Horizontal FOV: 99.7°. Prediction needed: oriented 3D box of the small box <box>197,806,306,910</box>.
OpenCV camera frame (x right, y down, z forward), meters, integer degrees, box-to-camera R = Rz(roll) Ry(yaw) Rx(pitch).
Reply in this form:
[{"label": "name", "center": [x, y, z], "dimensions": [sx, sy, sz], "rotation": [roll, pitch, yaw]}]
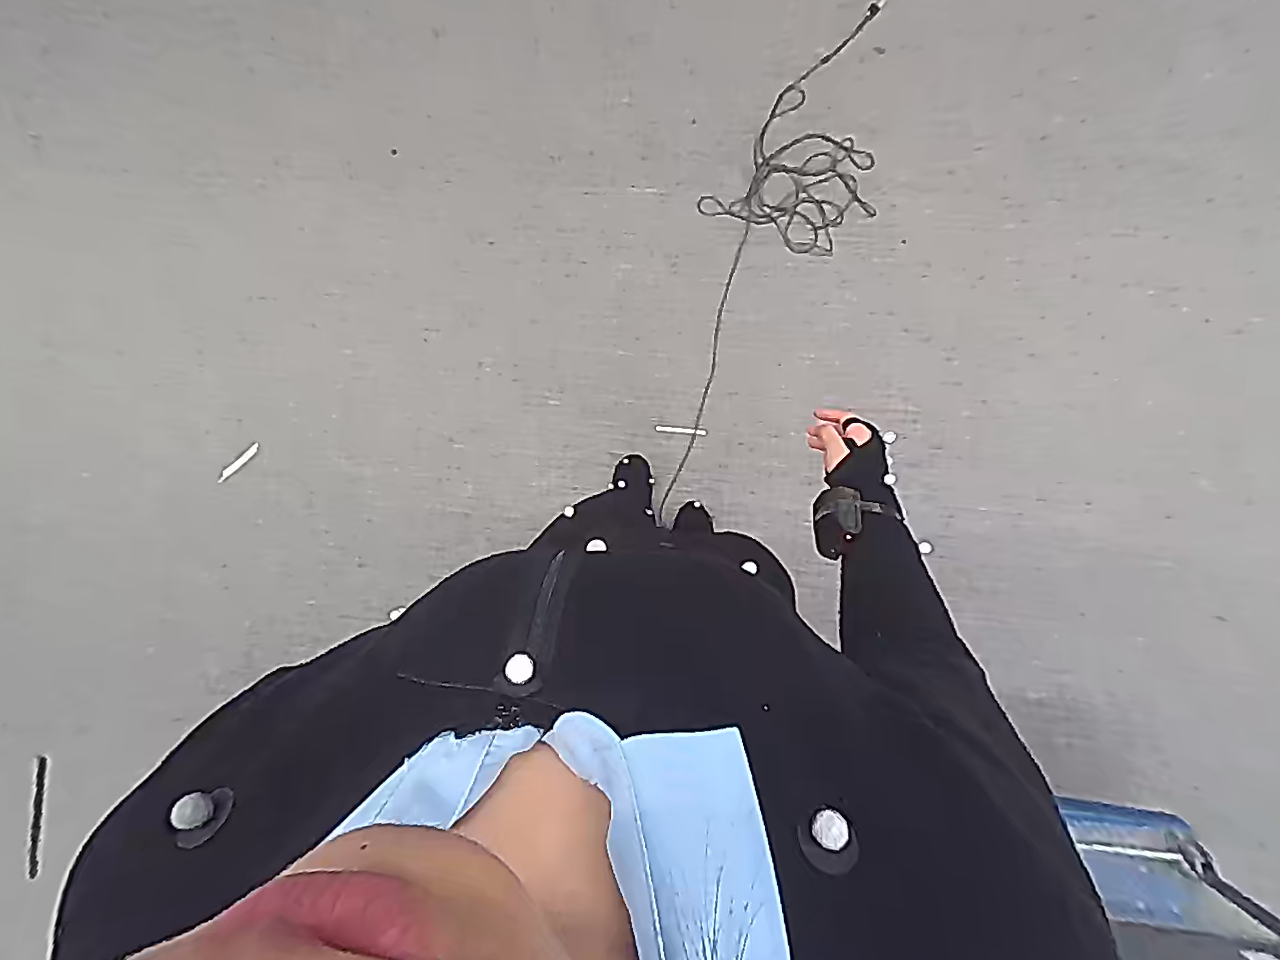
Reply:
[{"label": "small box", "center": [-1.062, 1.027, 1.485], "dimensions": [0.179, 0.176, 0.168], "rotation": [3, 88, 5]}]
